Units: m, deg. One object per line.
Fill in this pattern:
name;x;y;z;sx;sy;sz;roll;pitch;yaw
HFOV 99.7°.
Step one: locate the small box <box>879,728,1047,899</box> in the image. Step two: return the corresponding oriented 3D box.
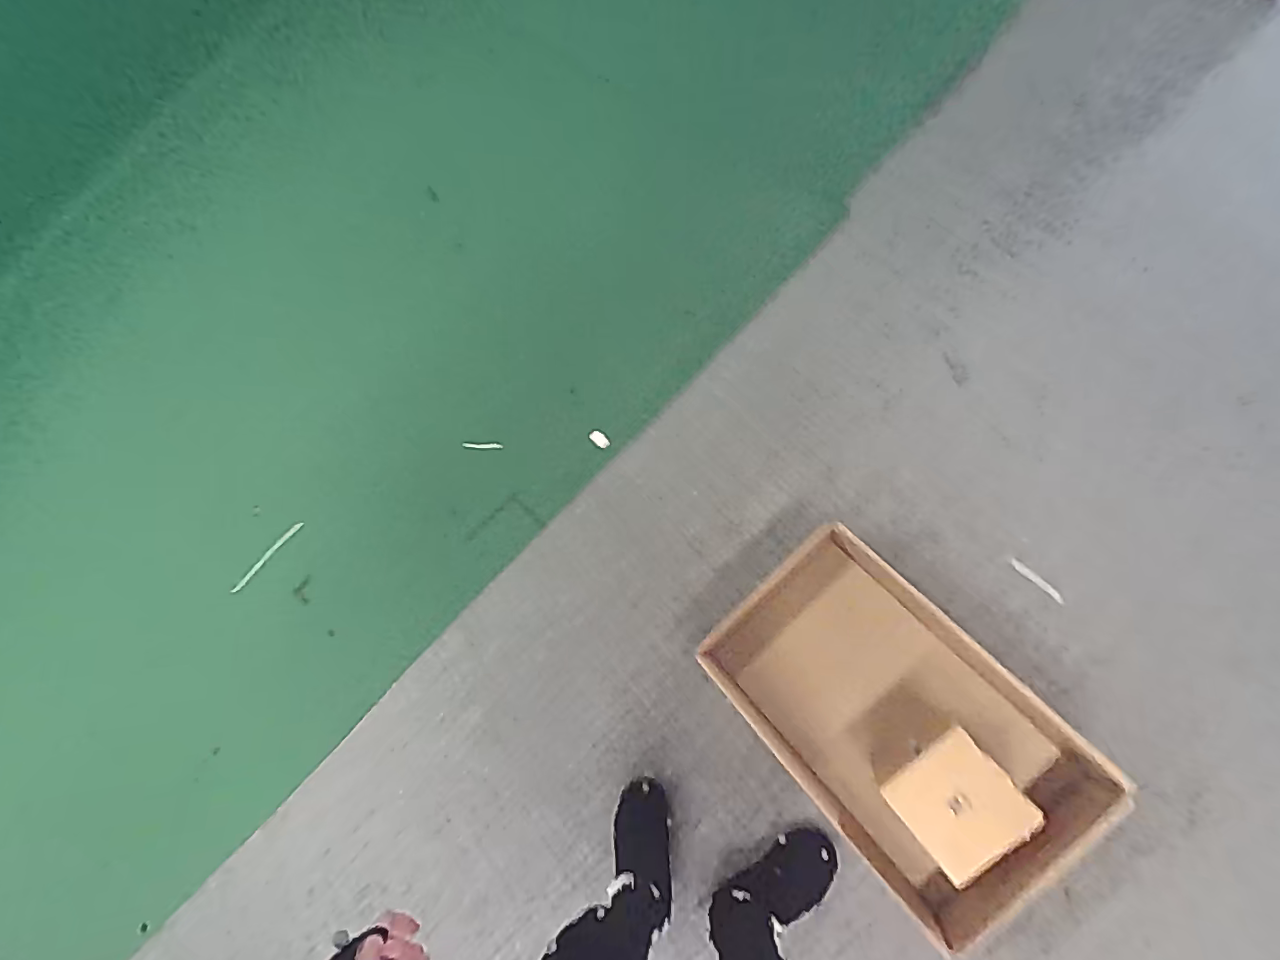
small box;0.536;0.556;0.928;0.179;0.176;0.168;-41;65;3
